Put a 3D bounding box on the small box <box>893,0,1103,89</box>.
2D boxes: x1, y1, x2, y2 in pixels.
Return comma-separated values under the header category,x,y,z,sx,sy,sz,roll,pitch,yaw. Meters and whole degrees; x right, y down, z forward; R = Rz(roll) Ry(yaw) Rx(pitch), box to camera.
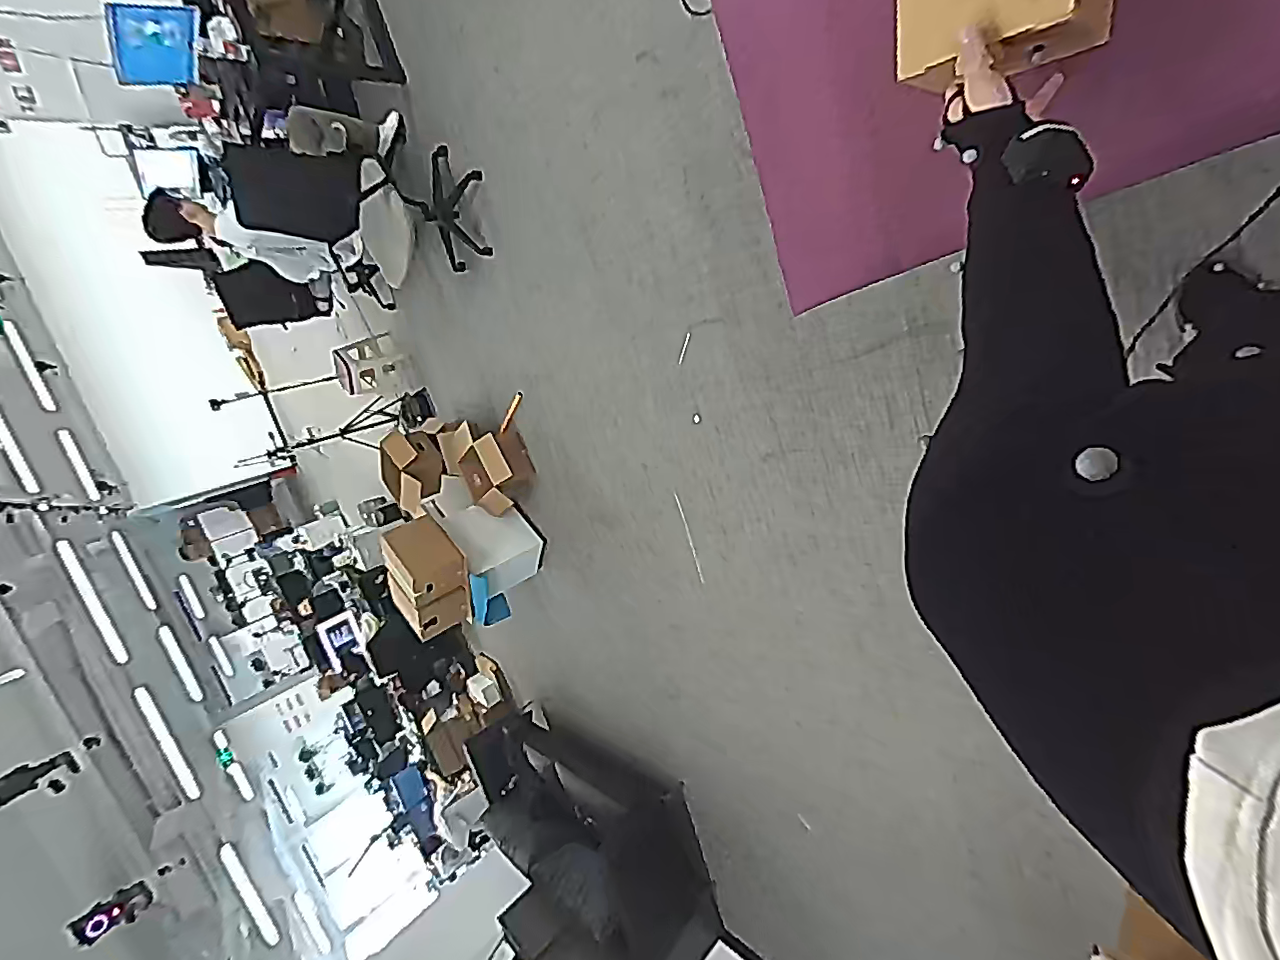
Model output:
category,x,y,z,sx,sy,sz,roll,pitch,yaw
small box,0.398,-0.559,0.595,0.168,0.176,0.179,12,118,45
